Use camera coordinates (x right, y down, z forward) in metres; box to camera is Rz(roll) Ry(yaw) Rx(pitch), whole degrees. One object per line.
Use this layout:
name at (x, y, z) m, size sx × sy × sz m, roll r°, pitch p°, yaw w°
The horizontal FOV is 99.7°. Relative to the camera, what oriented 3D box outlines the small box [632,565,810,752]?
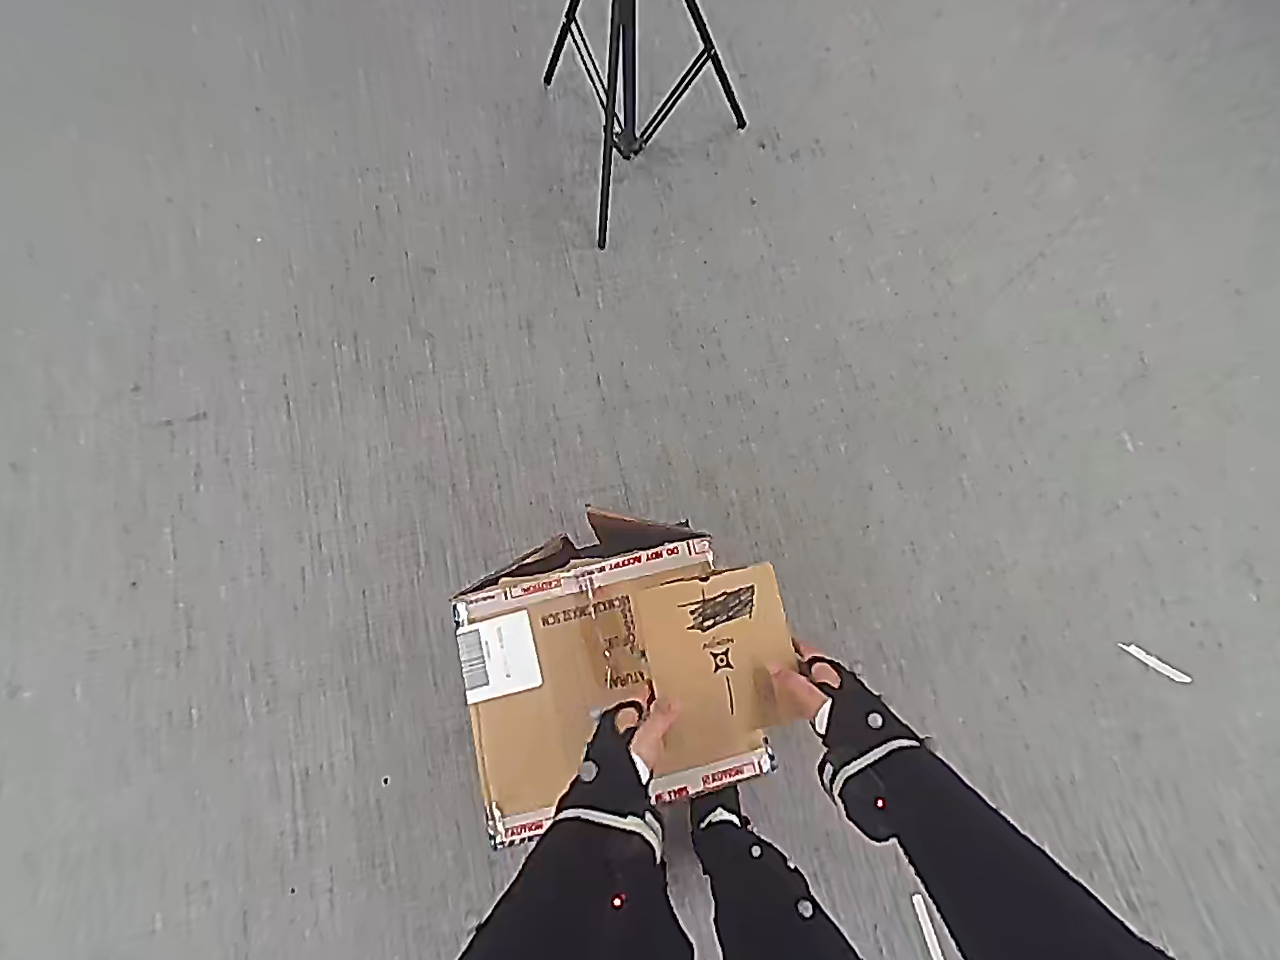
small box at (0.086, 0.214, 0.679) m, size 0.168 × 0.176 × 0.179 m, roll -10°, pitch 78°, yaw -6°
